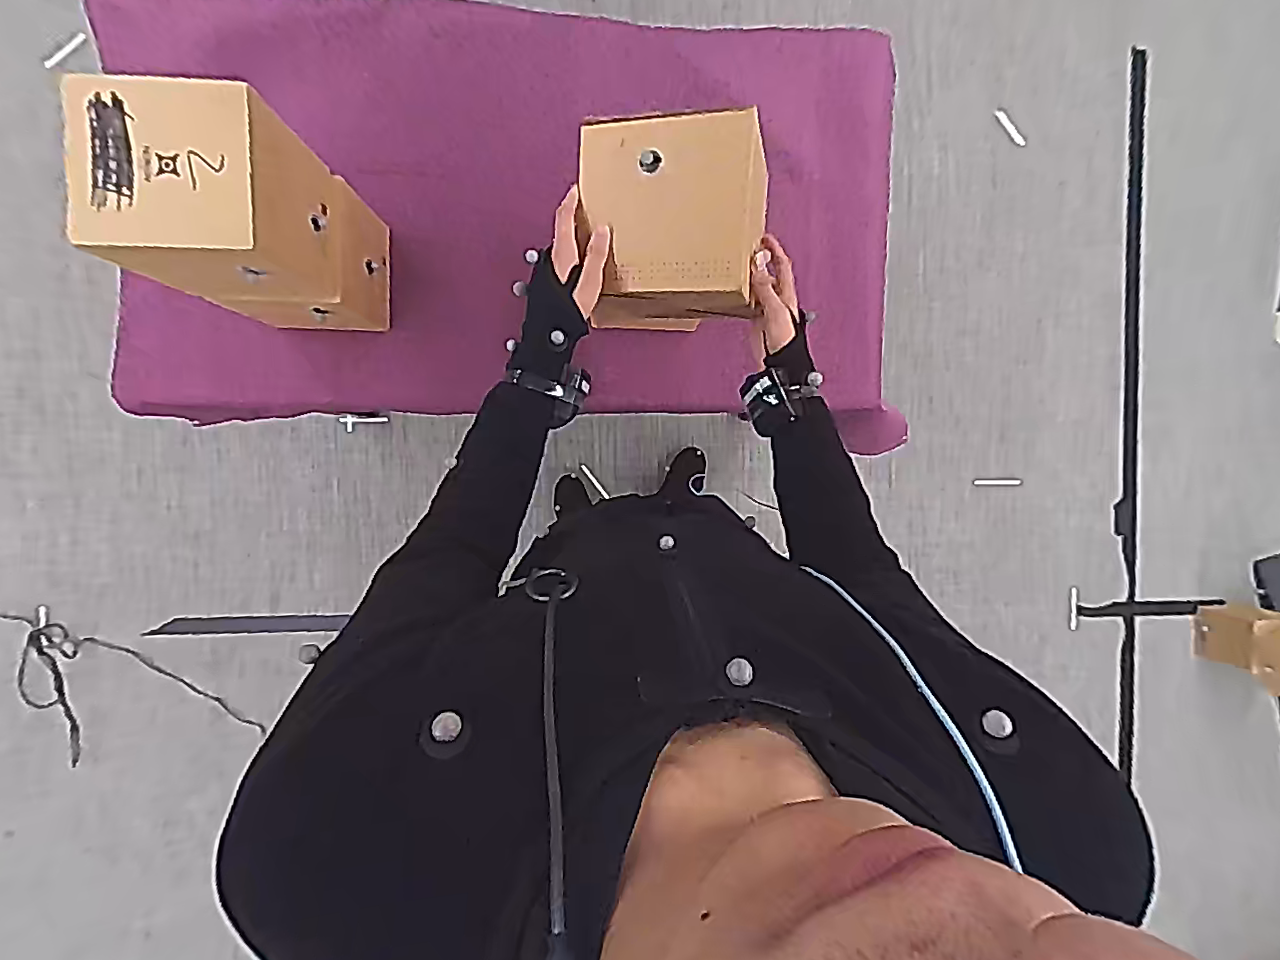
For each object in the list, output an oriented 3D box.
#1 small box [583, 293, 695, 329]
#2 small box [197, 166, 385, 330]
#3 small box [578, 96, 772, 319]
[{"bbox_3d":[0.006,-0.327,0.807,0.179,0.176,0.168,1,93,-4],"label":"small box"},{"bbox_3d":[-0.481,-0.316,0.771,0.179,0.176,0.168,1,93,-4],"label":"small box"},{"bbox_3d":[0.042,-0.276,0.596,0.179,0.168,0.176,5,98,20],"label":"small box"}]
